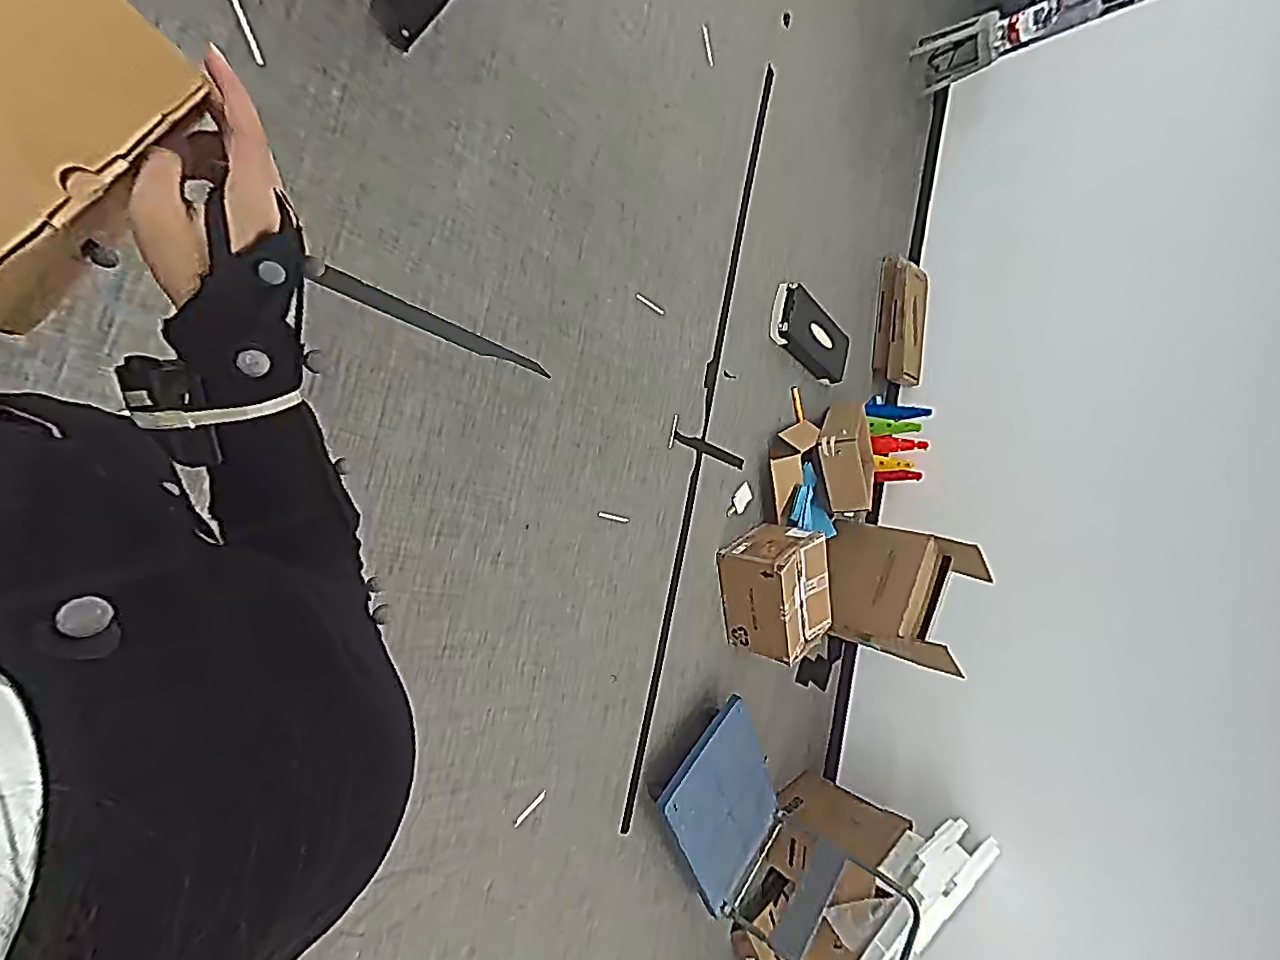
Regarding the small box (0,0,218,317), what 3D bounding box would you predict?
[{"bbox_3d":[-0.361,-0.197,0.264,0.179,0.176,0.168,45,69,-39],"label":"small box"}]
